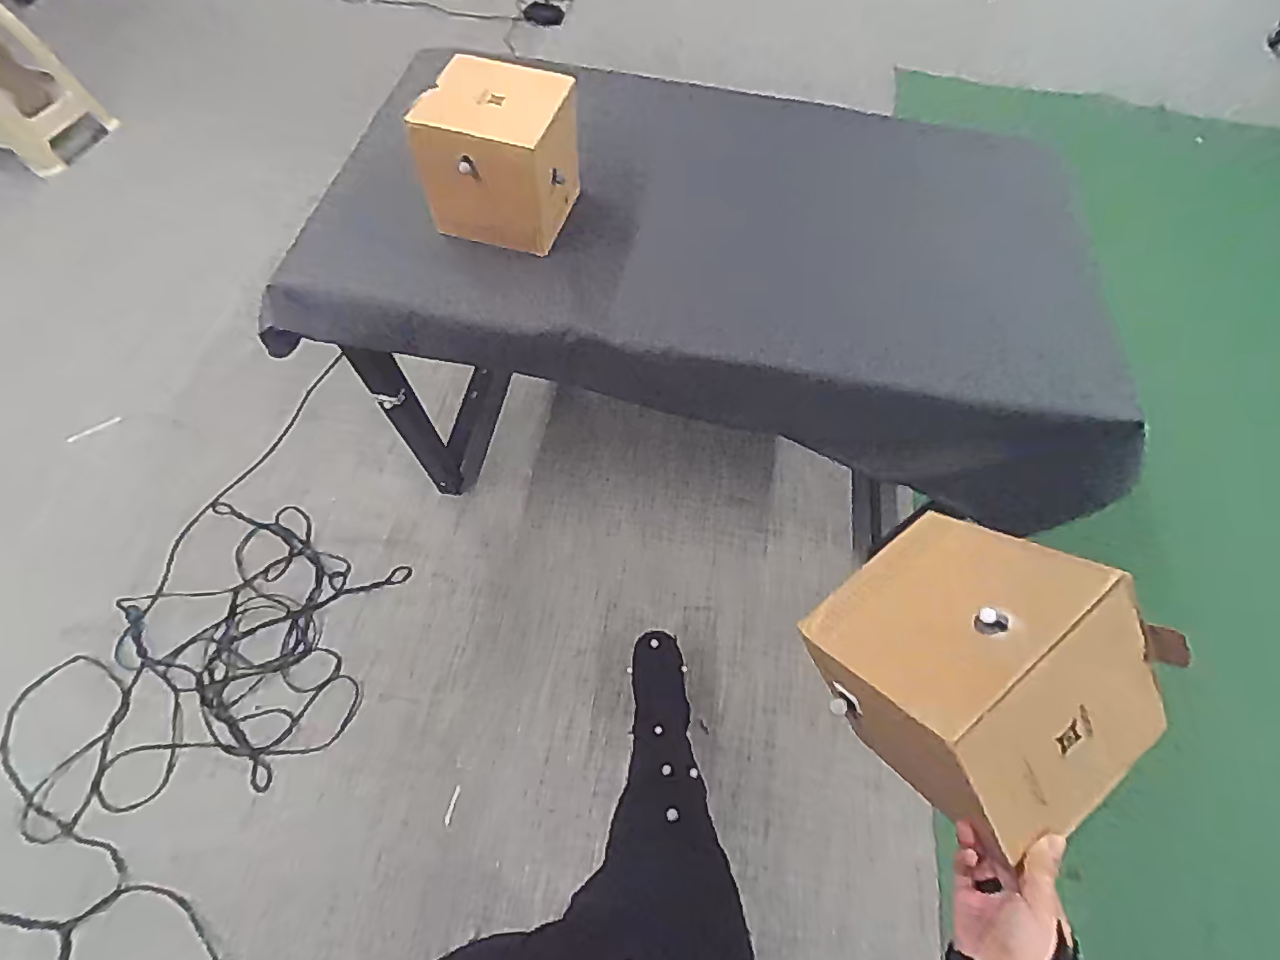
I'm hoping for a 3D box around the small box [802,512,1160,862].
[{"bbox_3d":[0.274,0.150,0.453,0.179,0.176,0.168,-37,112,-10],"label":"small box"}]

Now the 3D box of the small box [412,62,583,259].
[{"bbox_3d":[-0.187,-0.449,0.778,0.179,0.176,0.168,15,63,4],"label":"small box"}]
